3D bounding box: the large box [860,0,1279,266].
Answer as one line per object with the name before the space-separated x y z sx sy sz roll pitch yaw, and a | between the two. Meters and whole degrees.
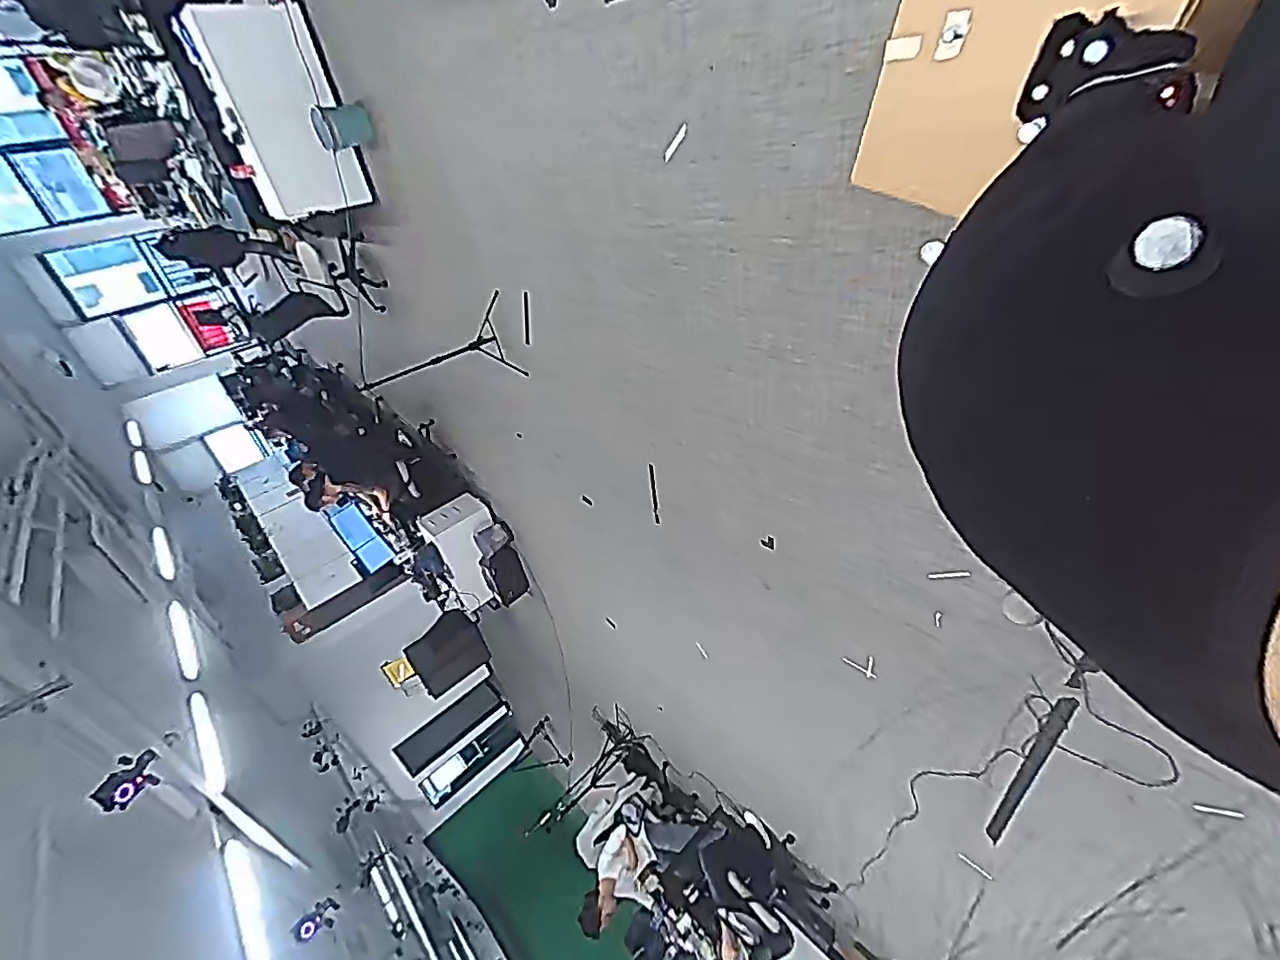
large box | 0.575 -0.510 0.703 0.320 0.408 0.320 49 147 38
